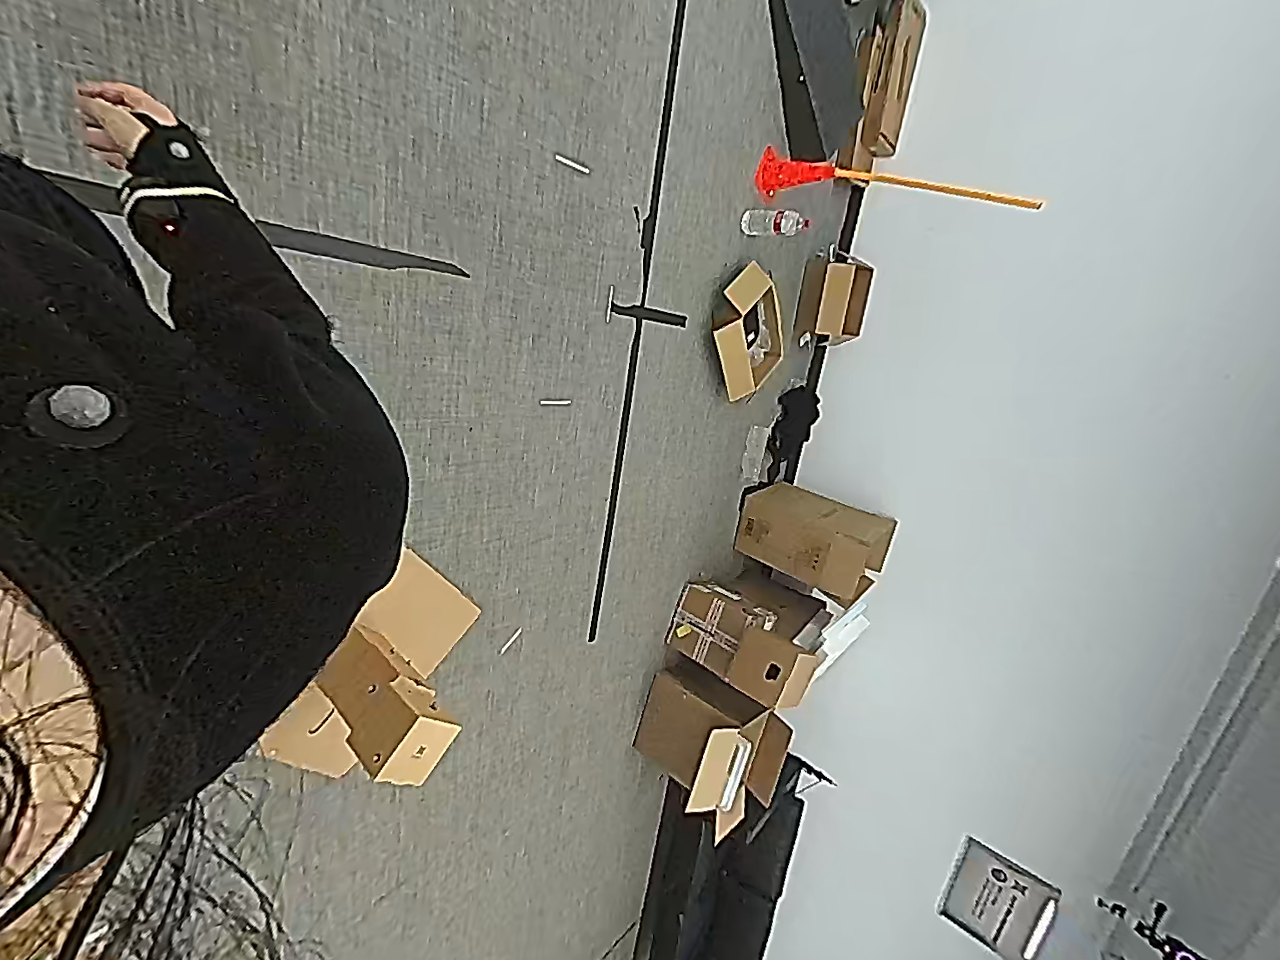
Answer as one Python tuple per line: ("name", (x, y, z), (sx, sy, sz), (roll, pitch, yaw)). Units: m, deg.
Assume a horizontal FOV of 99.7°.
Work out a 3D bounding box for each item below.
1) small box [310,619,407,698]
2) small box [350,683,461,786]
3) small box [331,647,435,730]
("small box", (-0.851, 0.553, 1.623), (0.179, 0.176, 0.168), (-52, 141, -19))
("small box", (-0.619, 0.665, 1.421), (0.179, 0.176, 0.168), (-55, 142, -14))
("small box", (-0.728, 0.604, 1.526), (0.179, 0.176, 0.168), (-51, 140, -20))
